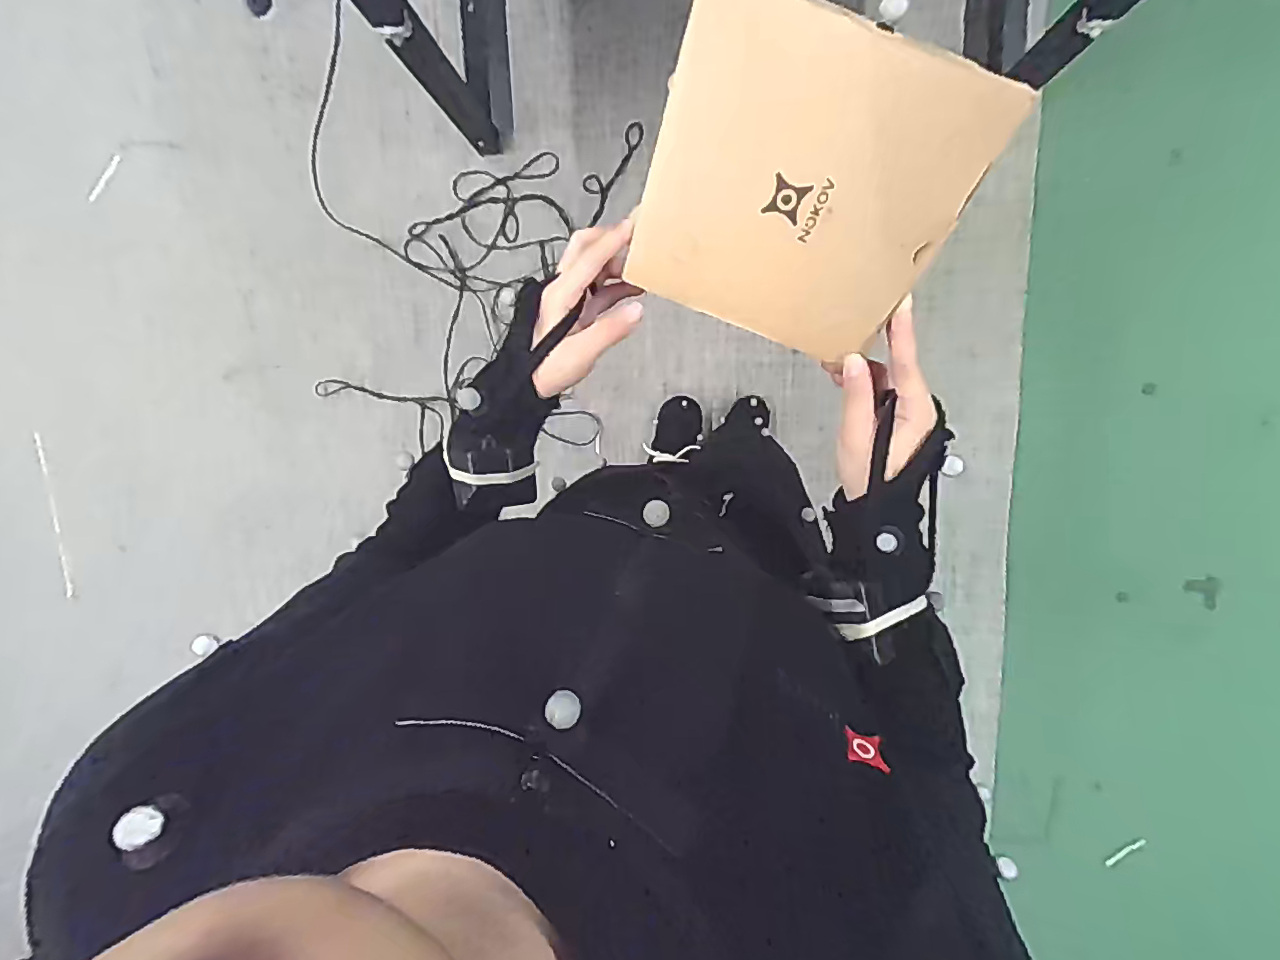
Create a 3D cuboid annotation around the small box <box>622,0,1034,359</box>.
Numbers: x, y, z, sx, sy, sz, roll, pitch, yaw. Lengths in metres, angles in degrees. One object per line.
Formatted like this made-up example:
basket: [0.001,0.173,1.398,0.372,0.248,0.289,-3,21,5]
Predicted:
small box: [0.109,-0.218,0.372,0.179,0.176,0.168,21,133,0]
